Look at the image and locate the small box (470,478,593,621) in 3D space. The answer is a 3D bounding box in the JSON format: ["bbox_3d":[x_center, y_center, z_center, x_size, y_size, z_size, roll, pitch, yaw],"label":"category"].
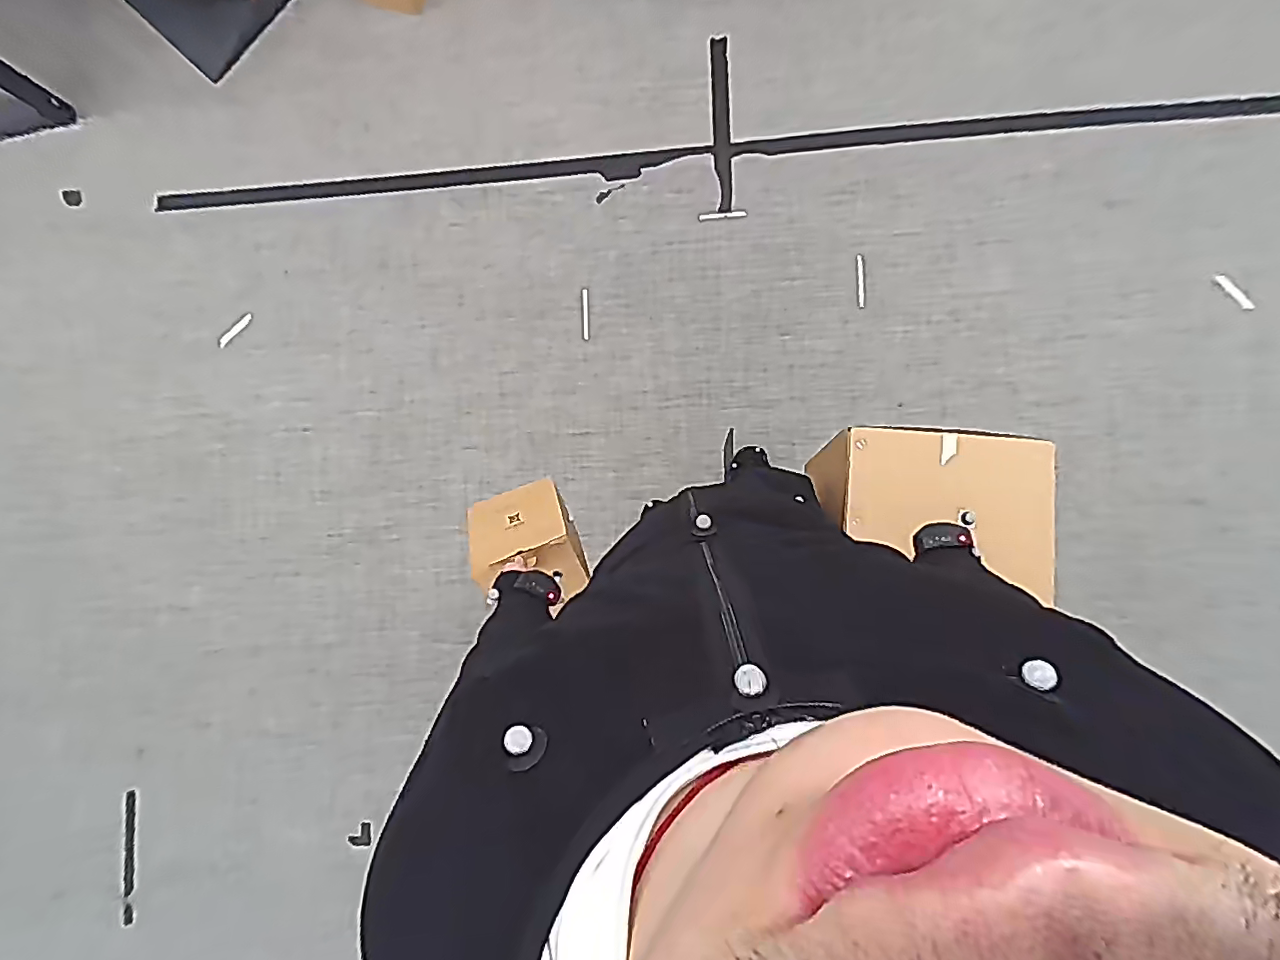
[{"bbox_3d":[-0.197,0.133,0.990,0.168,0.179,0.176,-20,128,-5],"label":"small box"}]
